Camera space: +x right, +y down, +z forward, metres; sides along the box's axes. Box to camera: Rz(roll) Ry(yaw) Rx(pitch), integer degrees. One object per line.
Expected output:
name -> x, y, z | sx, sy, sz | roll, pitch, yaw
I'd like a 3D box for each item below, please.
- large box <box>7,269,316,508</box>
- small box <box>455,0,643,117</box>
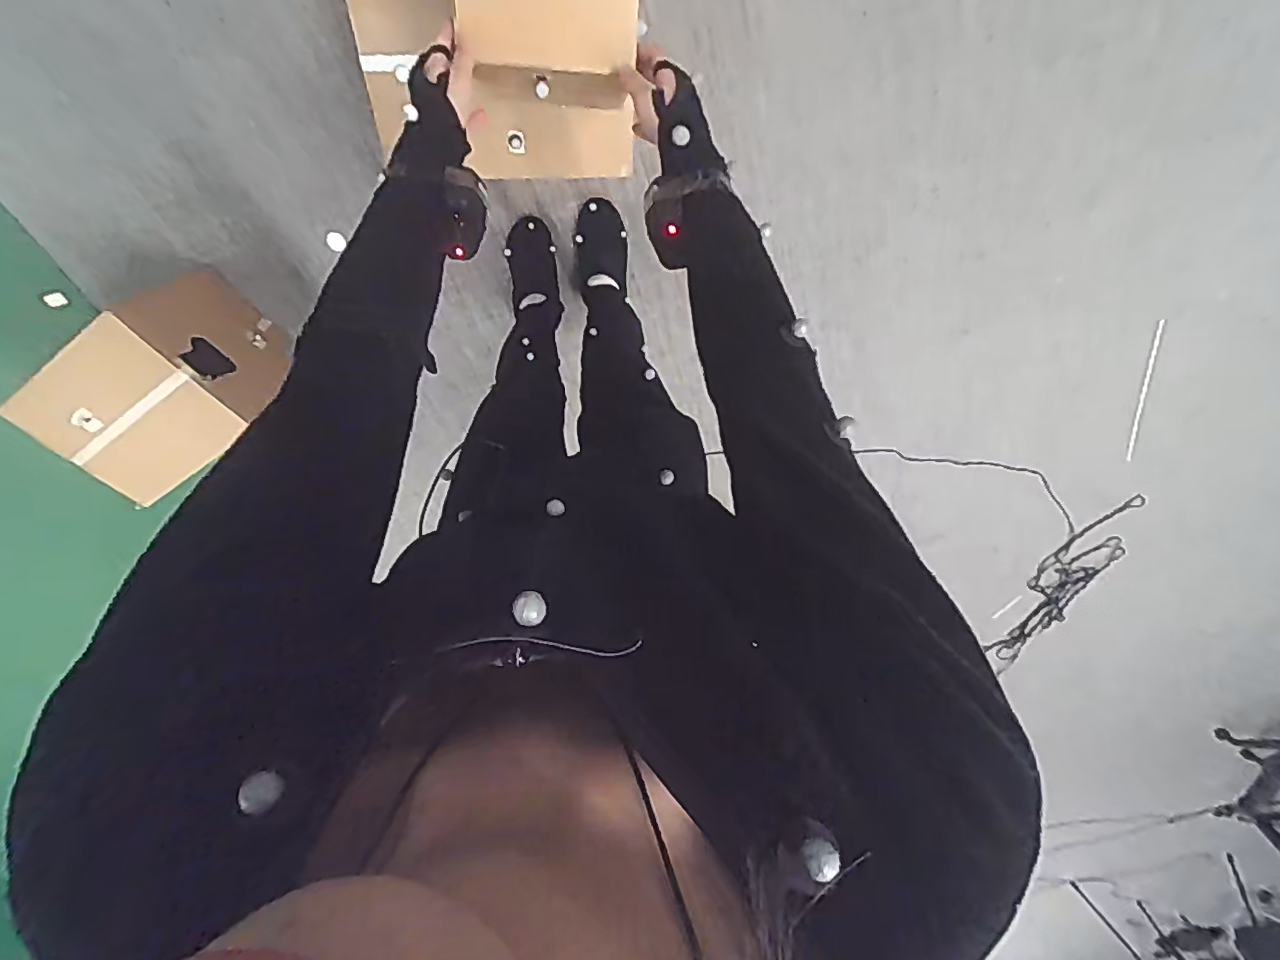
large box -> -1.065, -0.211, 1.251 | 0.408, 0.320, 0.320 | -27, 122, 17
small box -> -0.091, -0.500, 0.568 | 0.179, 0.176, 0.168 | 1, 112, -7
